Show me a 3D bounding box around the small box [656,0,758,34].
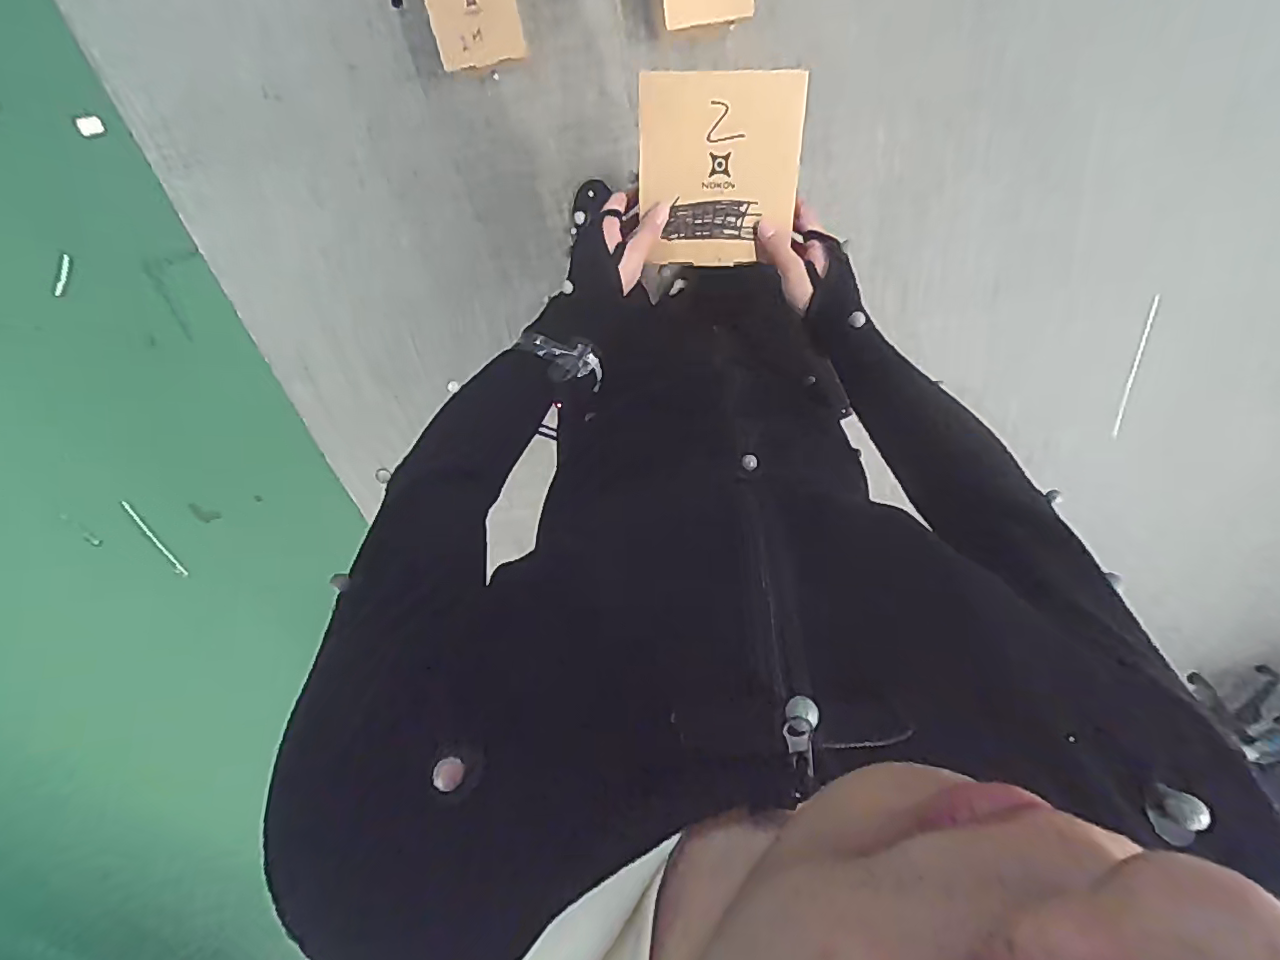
[{"bbox_3d":[0.119,-0.987,1.040,0.179,0.176,0.168,-11,123,0],"label":"small box"}]

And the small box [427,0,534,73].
[{"bbox_3d":[-0.309,-0.915,1.044,0.168,0.176,0.179,-10,123,2],"label":"small box"}]

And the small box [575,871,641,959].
[{"bbox_3d":[-0.099,1.316,1.639,0.168,0.176,0.179,-12,124,2],"label":"small box"}]
